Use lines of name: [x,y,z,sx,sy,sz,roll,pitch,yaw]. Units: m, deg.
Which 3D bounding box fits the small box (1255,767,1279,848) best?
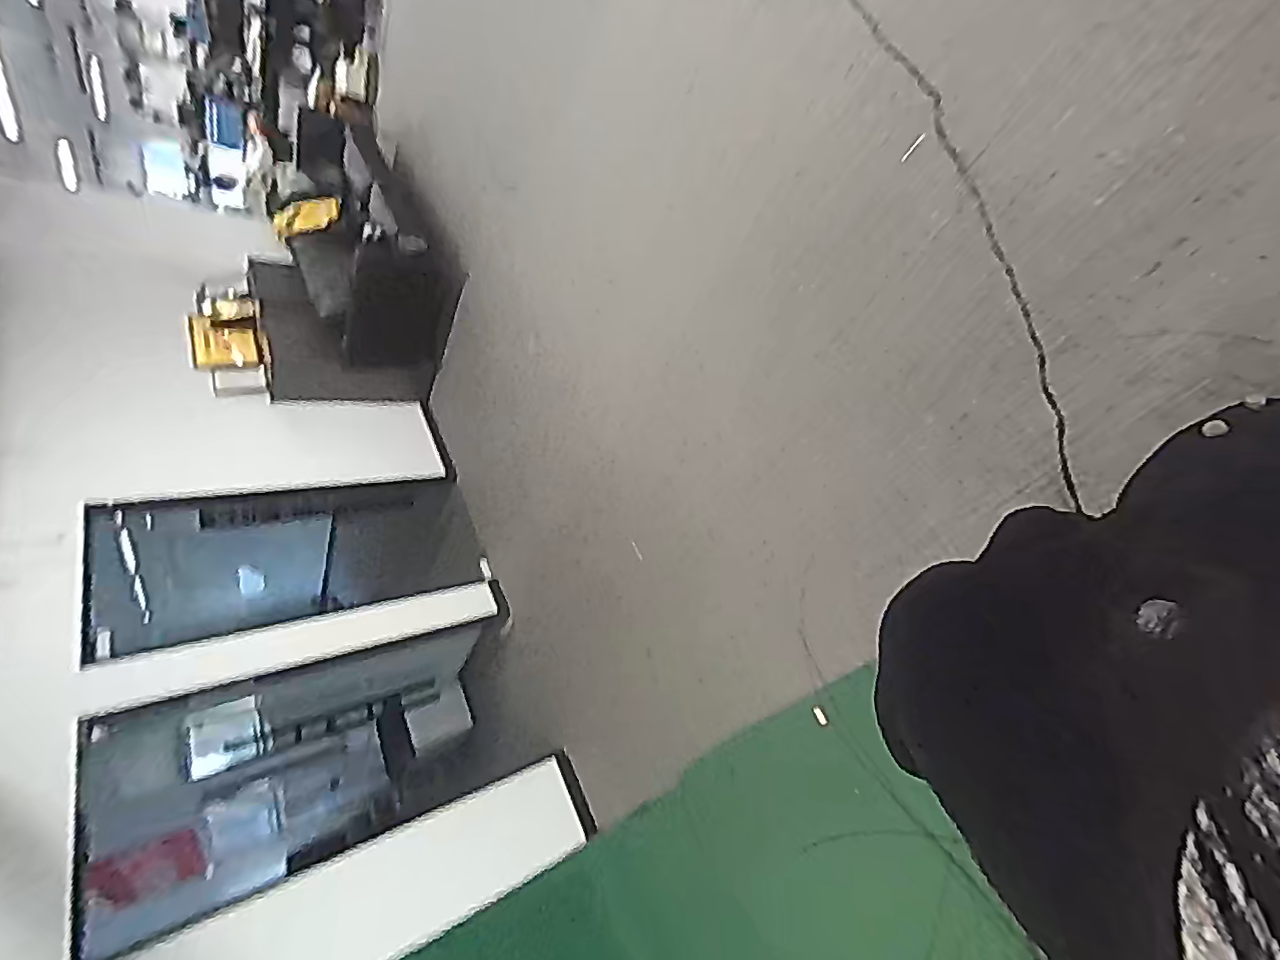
small box: [1.092,0.530,0.800,0.179,0.176,0.168,56,134,29]
